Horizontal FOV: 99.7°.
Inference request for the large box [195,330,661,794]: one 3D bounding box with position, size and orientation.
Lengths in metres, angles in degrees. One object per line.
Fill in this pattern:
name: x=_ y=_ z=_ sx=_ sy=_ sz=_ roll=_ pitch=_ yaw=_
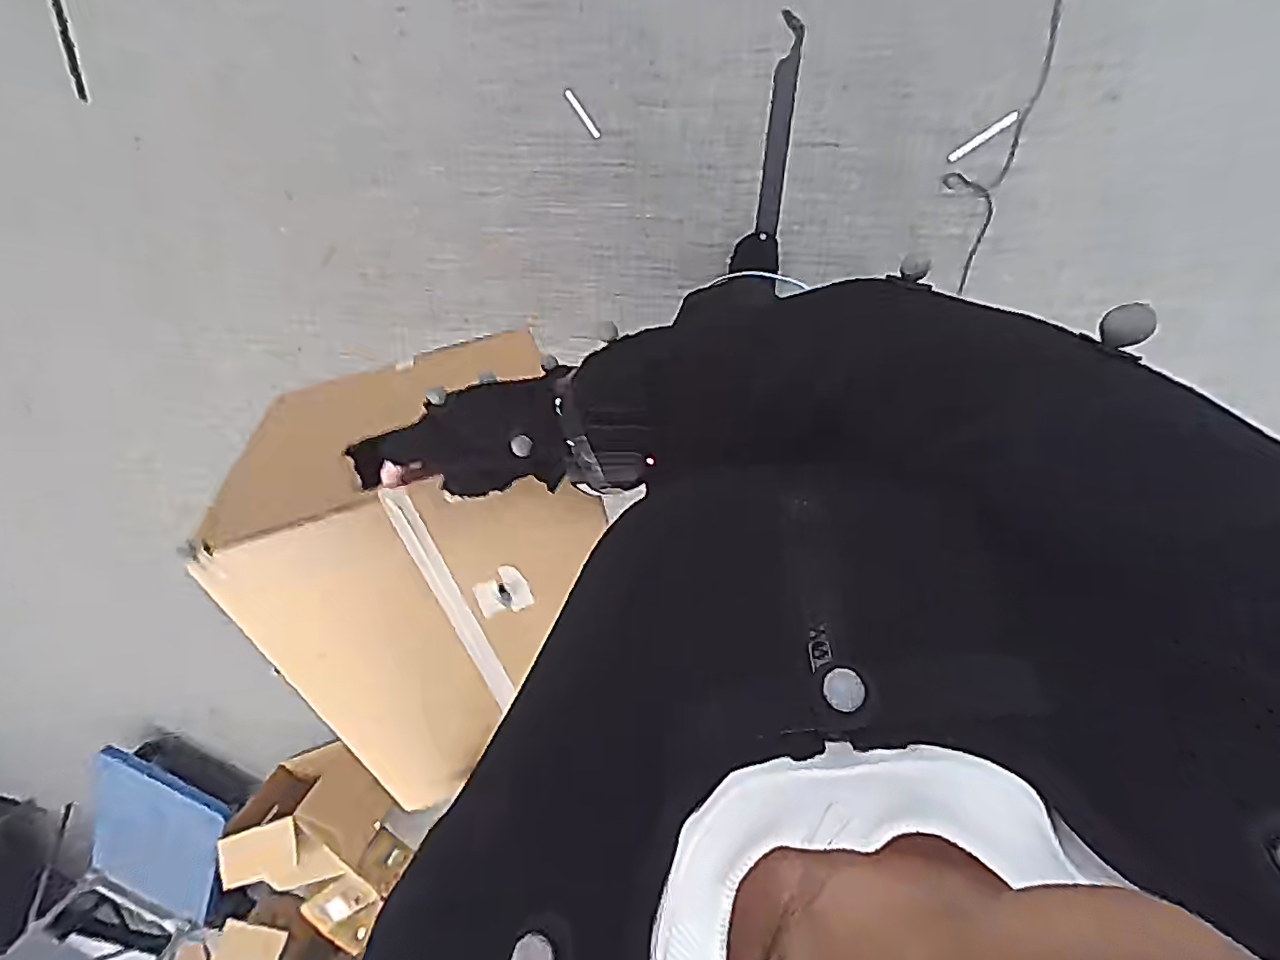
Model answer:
large box: x=-0.203 y=0.084 z=0.663 sx=0.320 sy=0.320 sz=0.408 roll=-21 pitch=124 yaw=-10
